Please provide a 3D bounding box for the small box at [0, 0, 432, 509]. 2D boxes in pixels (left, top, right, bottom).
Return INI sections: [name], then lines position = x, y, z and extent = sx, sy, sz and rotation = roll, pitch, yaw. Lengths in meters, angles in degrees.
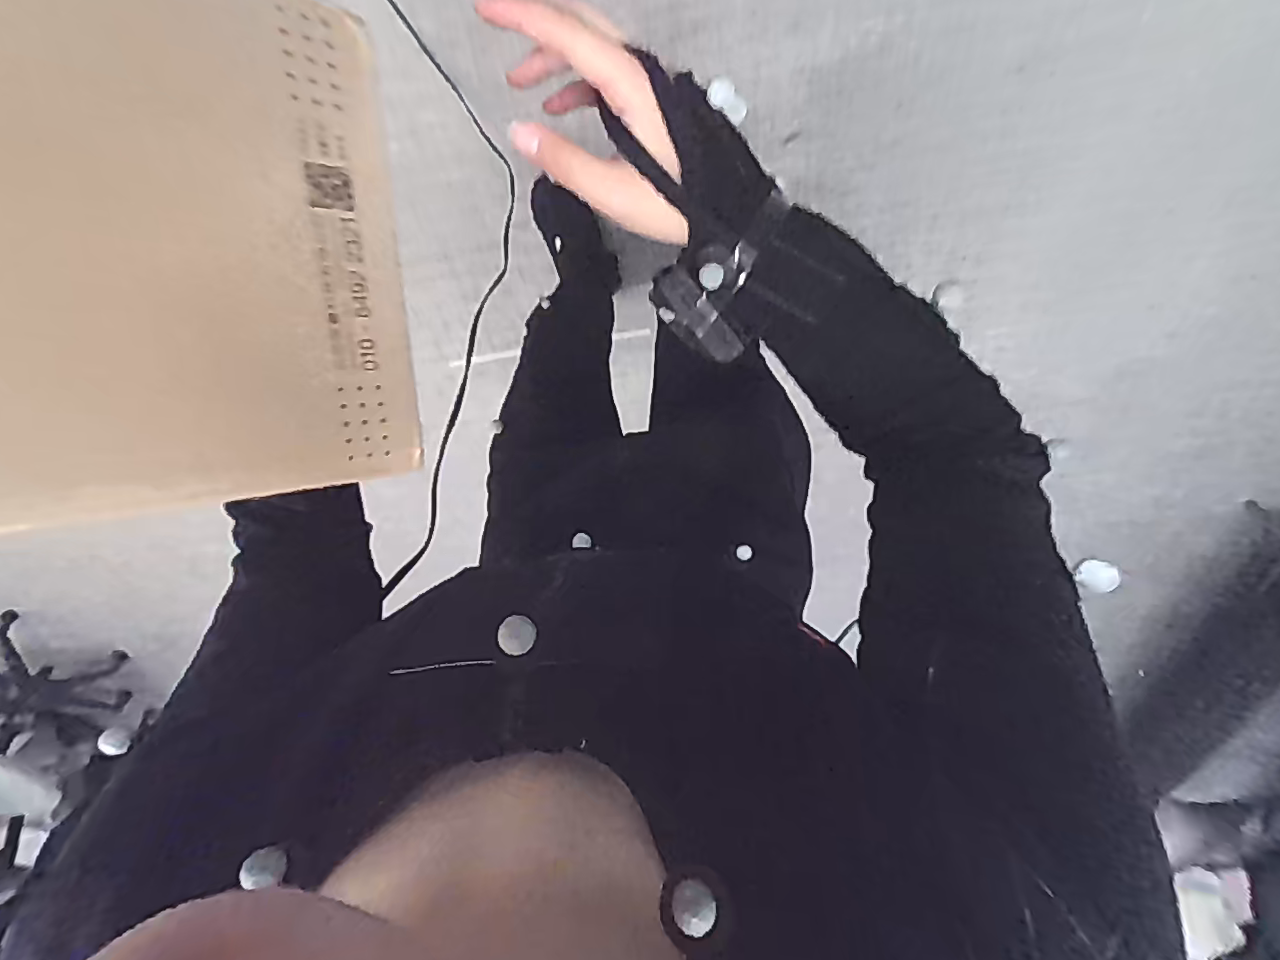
[small box]
position = -0.202, -0.087, 0.228
extent = 0.176, 0.179, 0.168
rotation = -12, 105, -37
